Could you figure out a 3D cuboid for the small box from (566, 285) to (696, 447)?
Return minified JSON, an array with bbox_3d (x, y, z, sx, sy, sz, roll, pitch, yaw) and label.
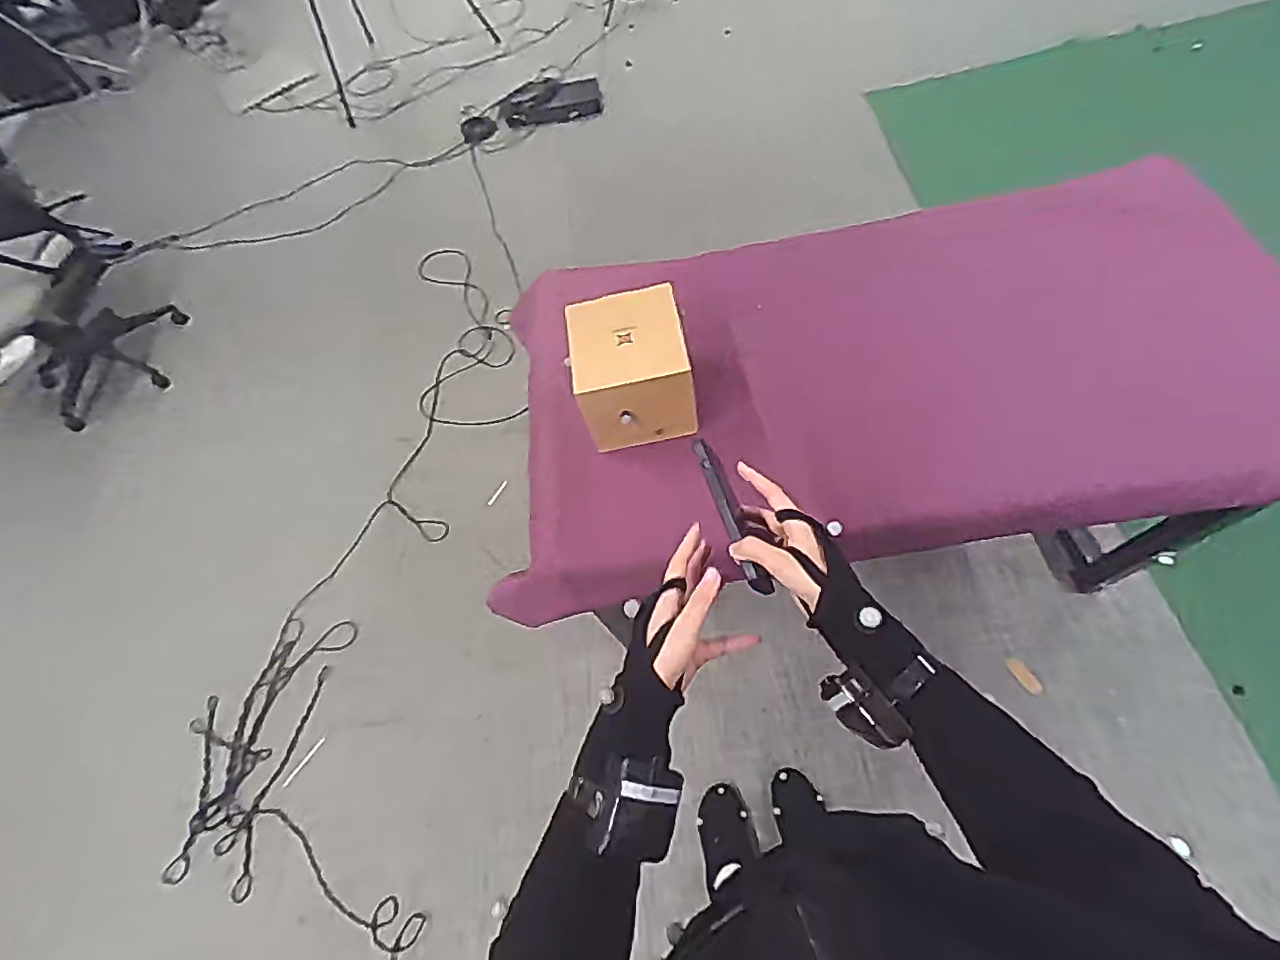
[{"bbox_3d":[-0.010,-0.167,0.849,0.168,0.176,0.179,-12,60,4],"label":"small box"}]
